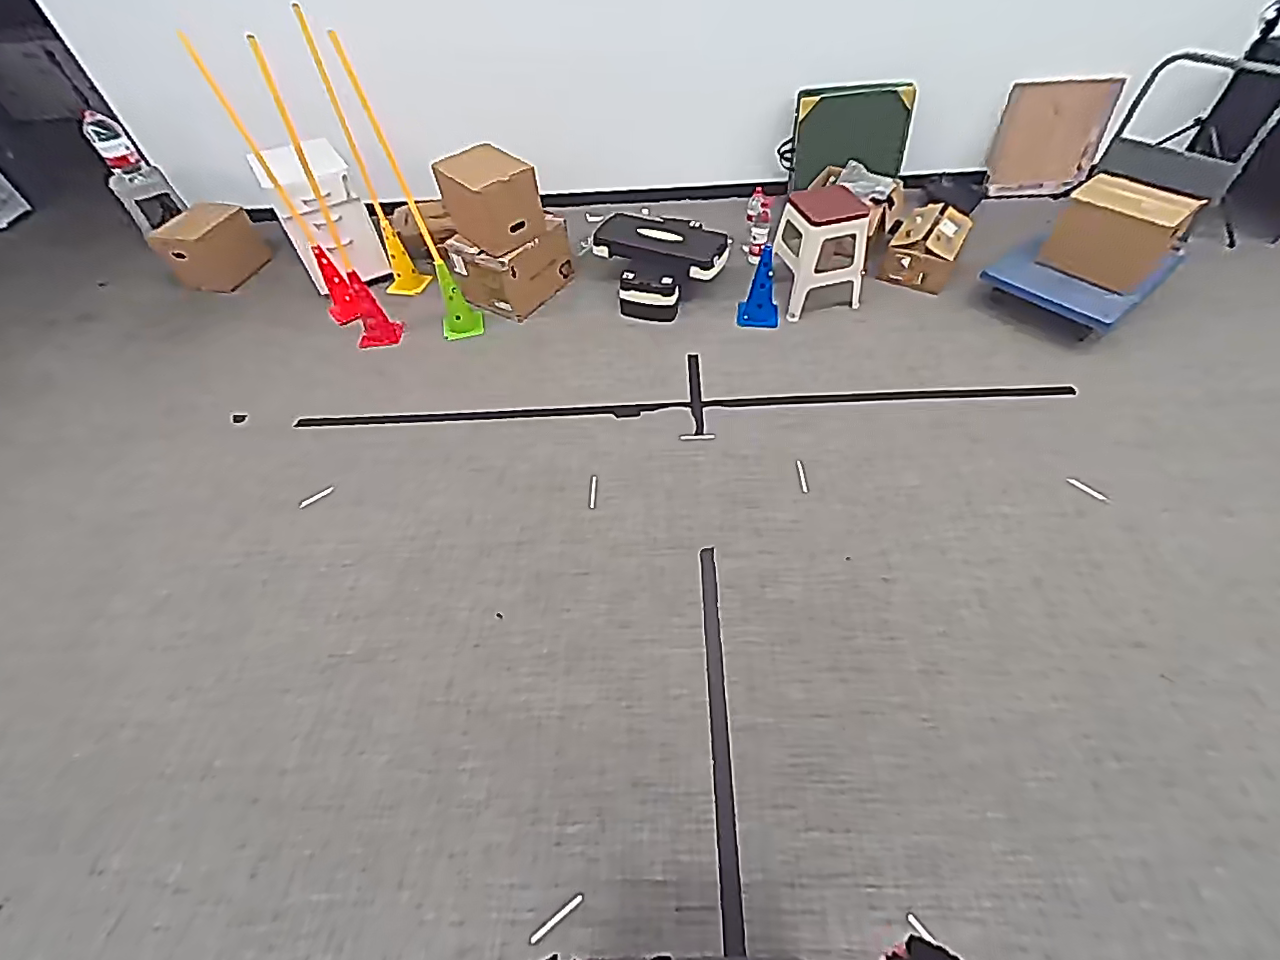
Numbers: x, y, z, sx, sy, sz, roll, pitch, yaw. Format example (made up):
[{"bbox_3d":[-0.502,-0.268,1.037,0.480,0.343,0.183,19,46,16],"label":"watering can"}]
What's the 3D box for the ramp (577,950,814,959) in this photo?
[{"bbox_3d":[0.119,1.400,0.862,0.509,0.206,0.991,-3,52,0],"label":"ramp"}]
